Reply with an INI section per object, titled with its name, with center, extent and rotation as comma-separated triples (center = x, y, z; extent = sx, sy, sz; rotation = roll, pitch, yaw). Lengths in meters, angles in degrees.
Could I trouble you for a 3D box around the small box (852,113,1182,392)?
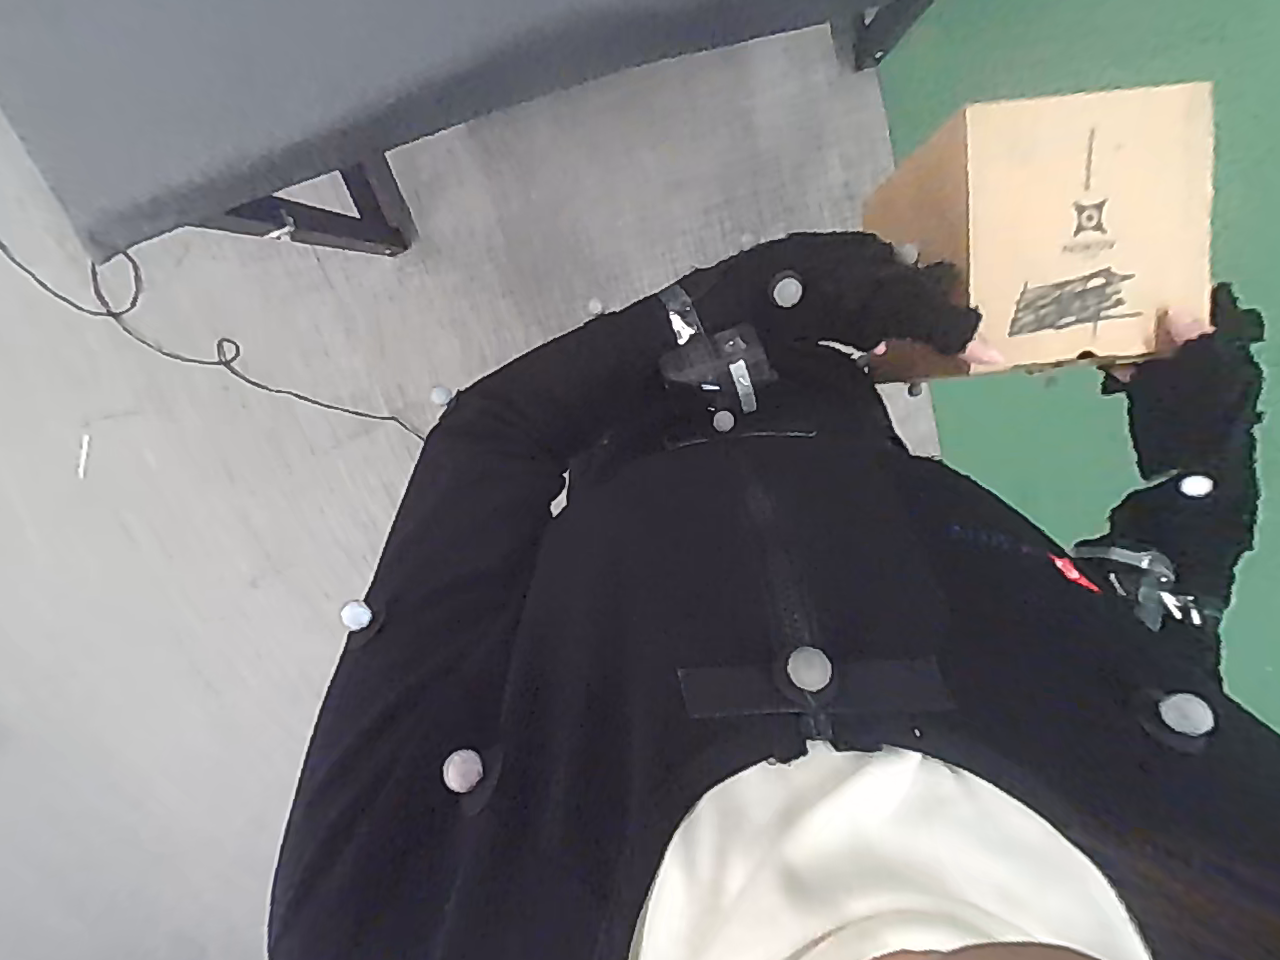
[small box]
center = 0.295, -0.169, 0.460
extent = 0.168, 0.176, 0.179
rotation = -5, 96, 0
